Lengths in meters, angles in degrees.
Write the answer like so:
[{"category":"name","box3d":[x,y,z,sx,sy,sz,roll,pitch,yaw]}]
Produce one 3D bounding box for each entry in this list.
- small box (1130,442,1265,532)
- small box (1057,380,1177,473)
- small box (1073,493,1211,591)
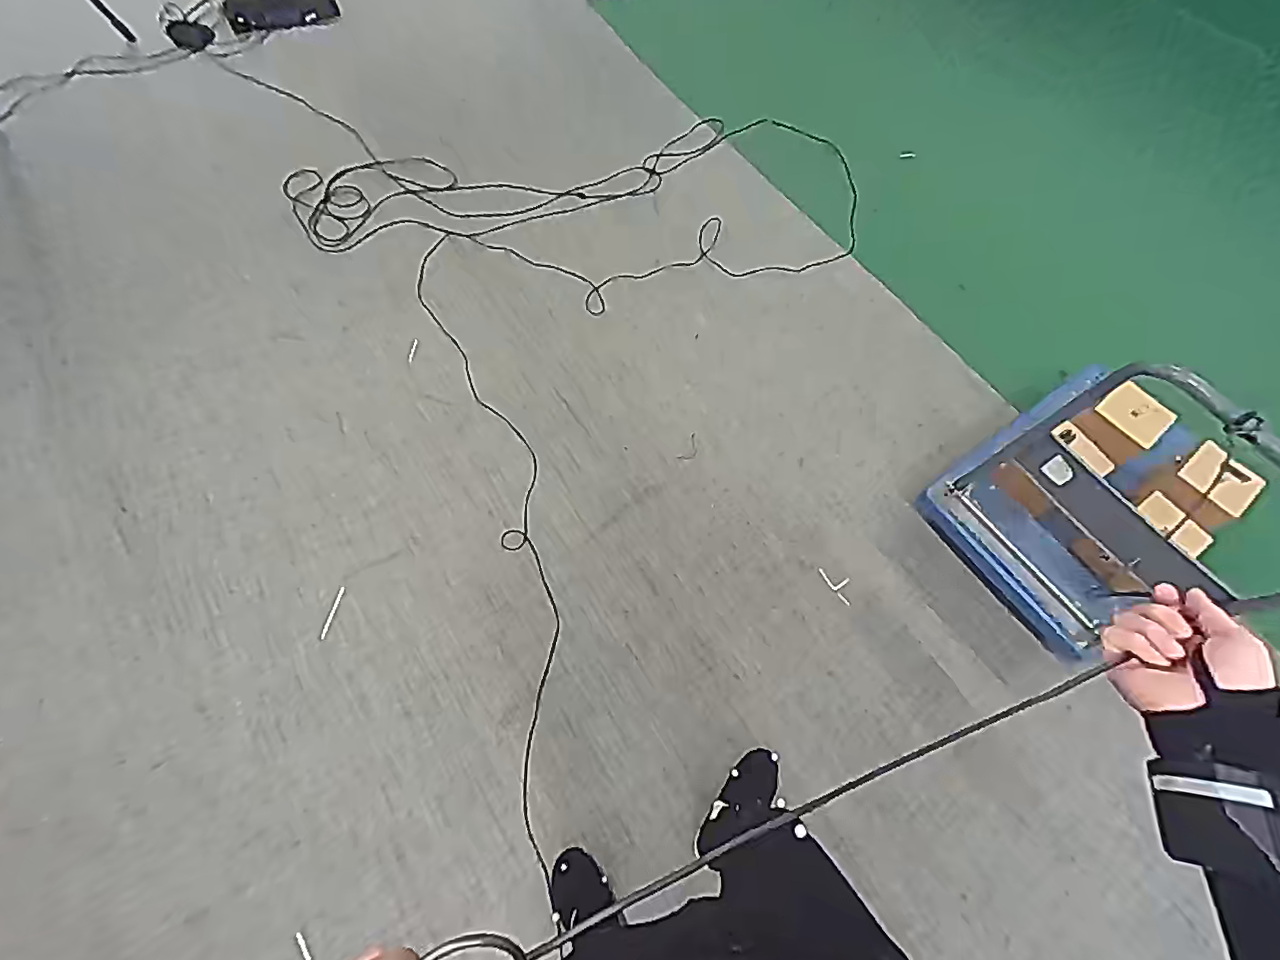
[{"category":"small box","box3d":[1.525,0.033,1.492,0.179,0.176,0.168,-35,71,-16]},{"category":"small box","box3d":[1.368,-0.149,1.567,0.179,0.176,0.168,-35,72,-17]},{"category":"small box","box3d":[1.302,0.166,1.417,0.179,0.176,0.168,-30,71,-15]}]
